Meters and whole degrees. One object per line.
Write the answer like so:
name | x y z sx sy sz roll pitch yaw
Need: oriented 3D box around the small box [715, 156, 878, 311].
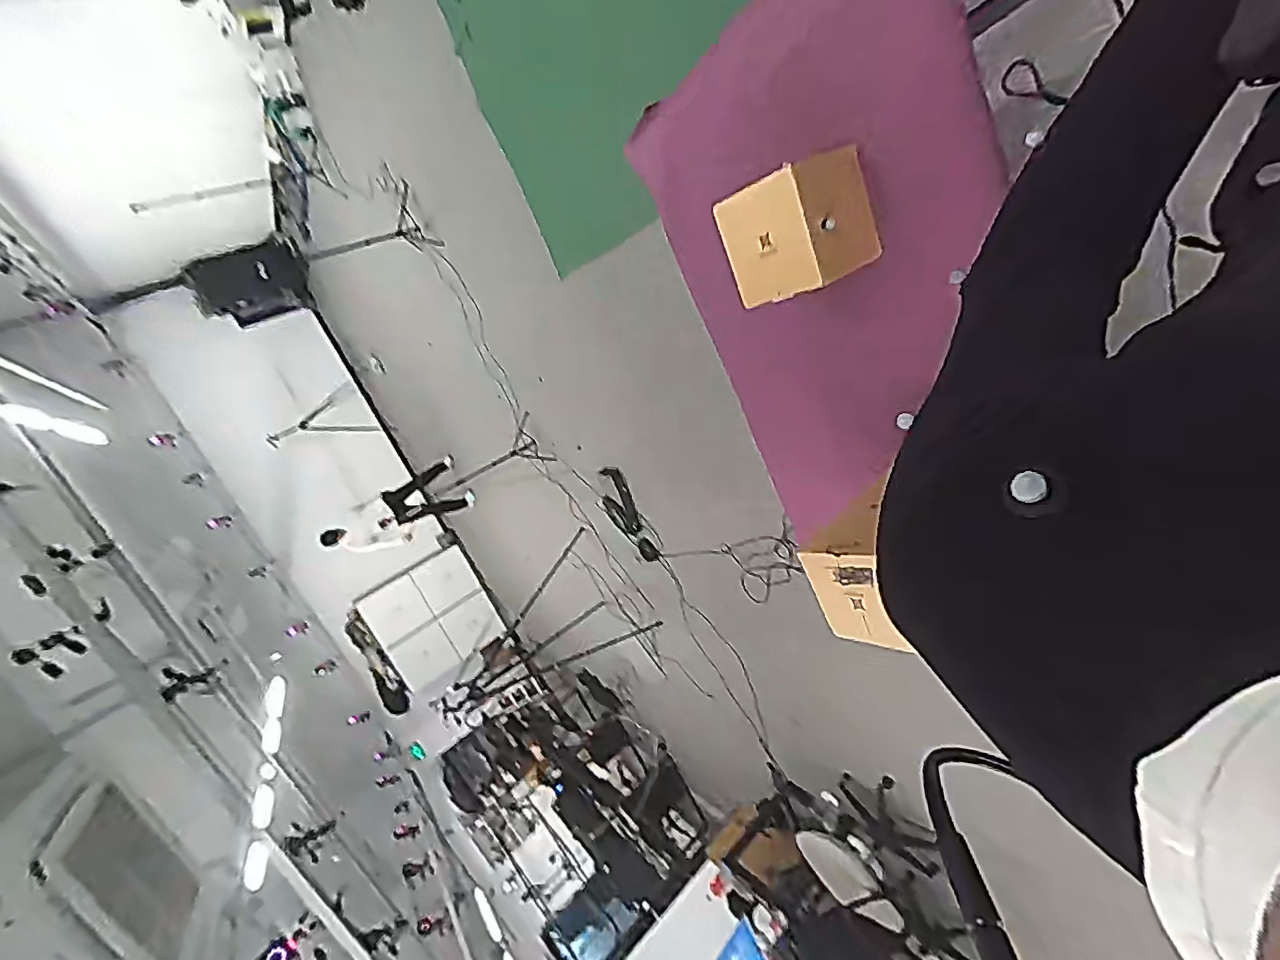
small box | 0.259 -0.403 0.886 0.168 0.176 0.179 3 122 55

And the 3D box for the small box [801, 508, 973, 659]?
small box | 0.402 0.155 0.880 0.168 0.176 0.179 -8 112 58
